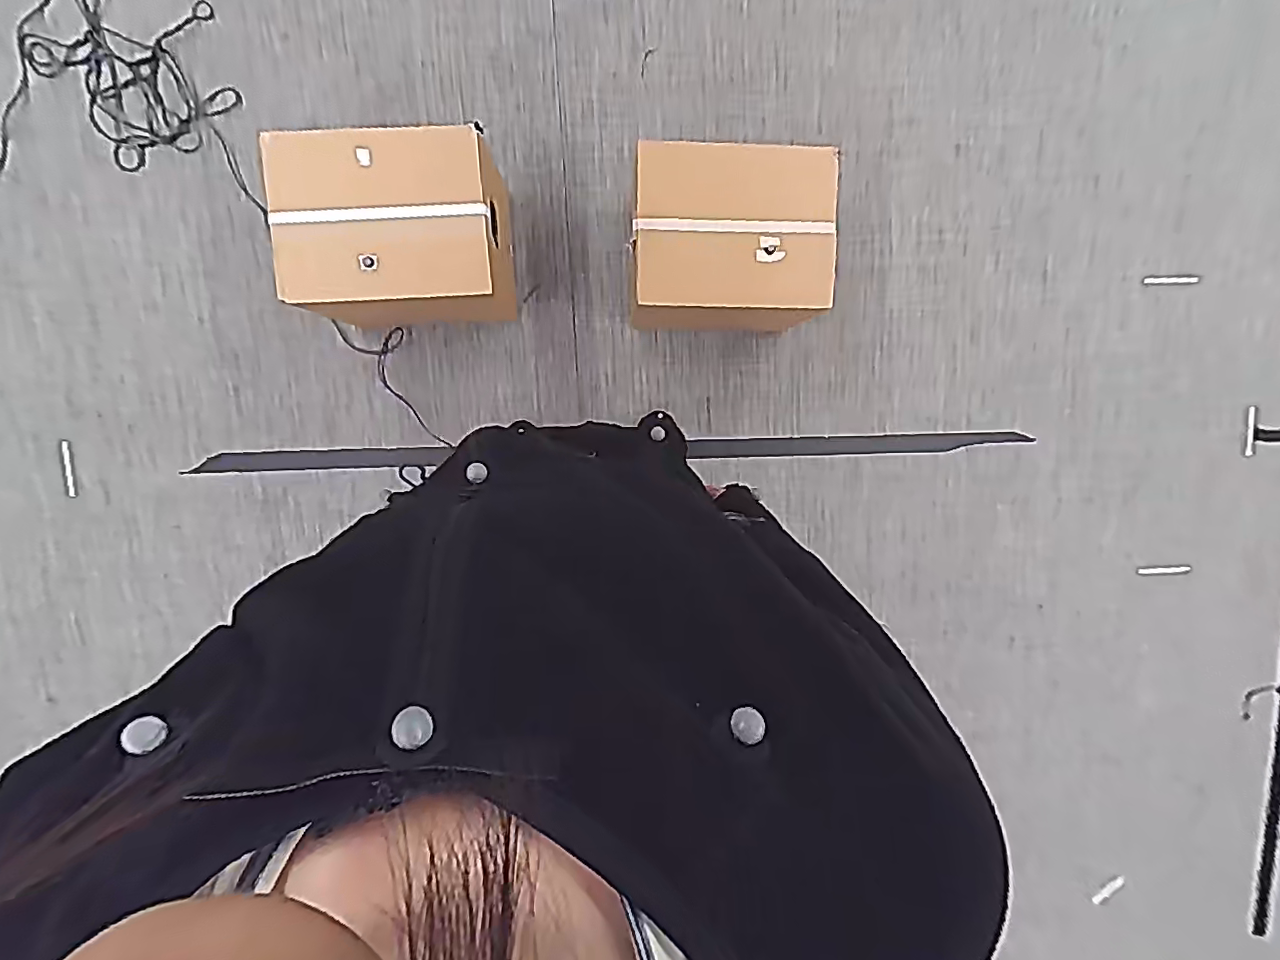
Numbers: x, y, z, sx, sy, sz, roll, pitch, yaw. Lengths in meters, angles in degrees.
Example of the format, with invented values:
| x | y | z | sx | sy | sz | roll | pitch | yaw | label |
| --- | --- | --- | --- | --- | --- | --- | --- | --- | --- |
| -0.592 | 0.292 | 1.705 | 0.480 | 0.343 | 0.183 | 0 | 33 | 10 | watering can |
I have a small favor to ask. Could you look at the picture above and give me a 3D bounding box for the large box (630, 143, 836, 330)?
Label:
| x | y | z | sx | sy | sz | roll | pitch | yaw | label |
| --- | --- | --- | --- | --- | --- | --- | --- | --- | --- |
| 0.185 | -0.526 | 1.236 | 0.408 | 0.320 | 0.320 | 0 | 97 | -4 | large box |
